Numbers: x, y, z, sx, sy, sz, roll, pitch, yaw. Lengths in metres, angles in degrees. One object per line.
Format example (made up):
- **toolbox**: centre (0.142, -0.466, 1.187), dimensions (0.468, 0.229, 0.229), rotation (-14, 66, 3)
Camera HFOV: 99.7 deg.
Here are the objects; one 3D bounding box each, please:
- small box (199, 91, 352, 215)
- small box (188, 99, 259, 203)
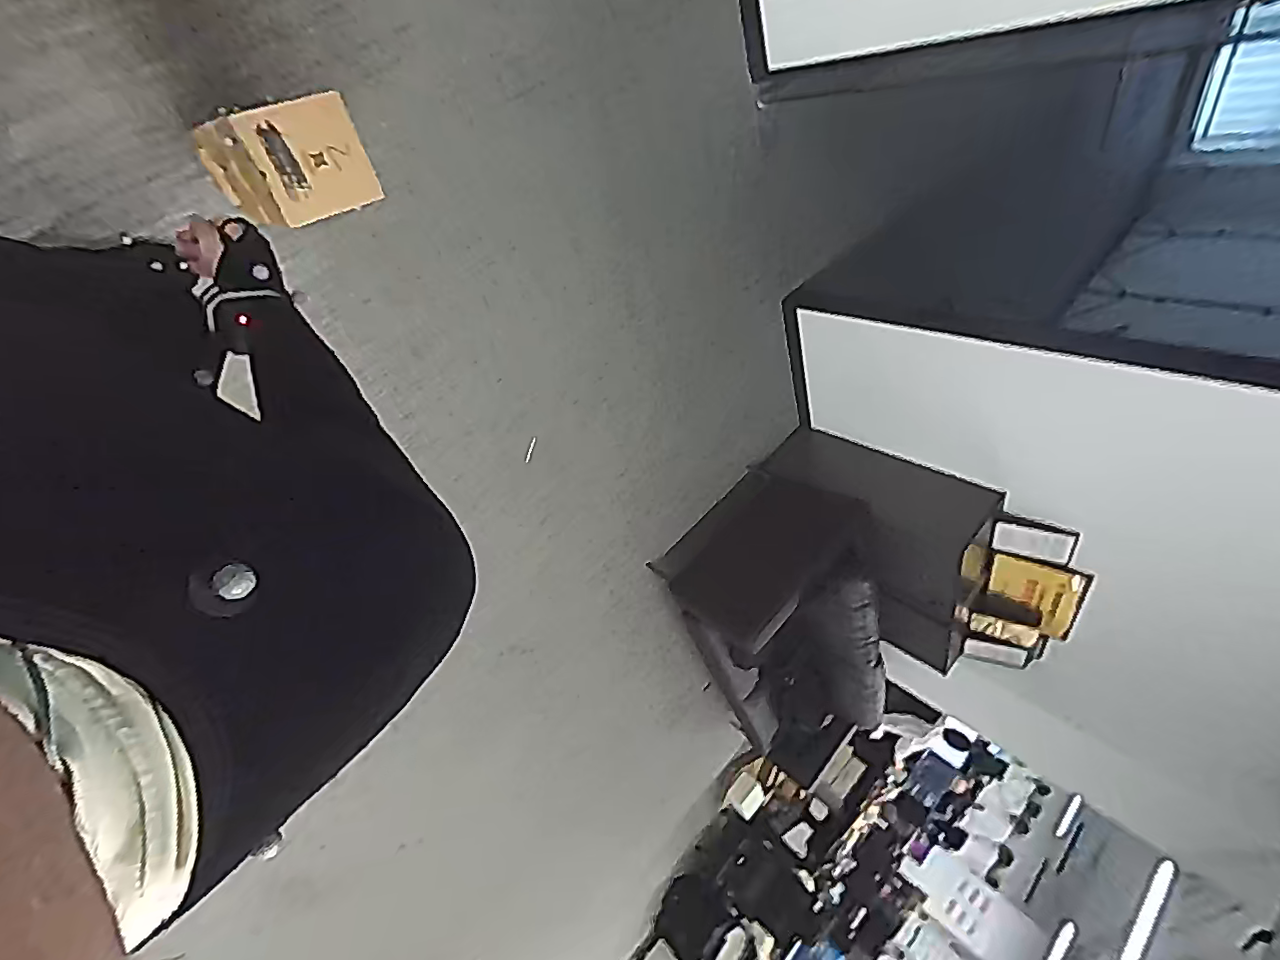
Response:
- **small box**: centre (-0.705, -0.635, 1.047), dimensions (0.179, 0.176, 0.168), rotation (-37, 134, -24)
- **small box**: centre (-0.813, -0.698, 1.147), dimensions (0.179, 0.176, 0.168), rotation (-32, 129, -27)
